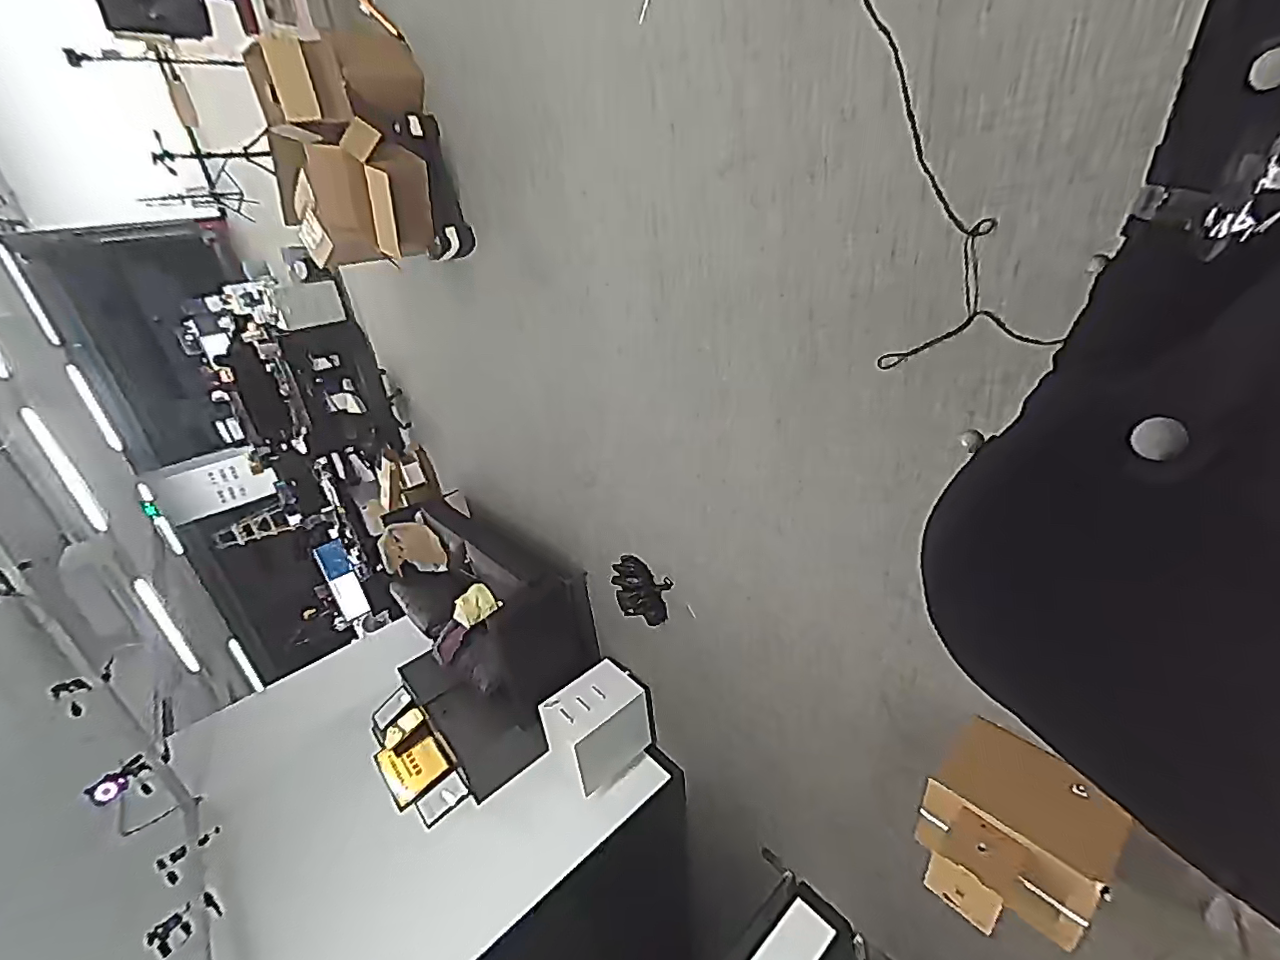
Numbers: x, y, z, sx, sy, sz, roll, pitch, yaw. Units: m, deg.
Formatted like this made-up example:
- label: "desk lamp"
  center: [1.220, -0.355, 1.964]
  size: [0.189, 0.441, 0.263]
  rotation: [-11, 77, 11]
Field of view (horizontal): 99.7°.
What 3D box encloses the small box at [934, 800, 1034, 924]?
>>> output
- label: "small box"
  center: [0.912, 1.002, 1.433]
  size: [0.168, 0.176, 0.179]
  rotation: [24, 130, 44]
